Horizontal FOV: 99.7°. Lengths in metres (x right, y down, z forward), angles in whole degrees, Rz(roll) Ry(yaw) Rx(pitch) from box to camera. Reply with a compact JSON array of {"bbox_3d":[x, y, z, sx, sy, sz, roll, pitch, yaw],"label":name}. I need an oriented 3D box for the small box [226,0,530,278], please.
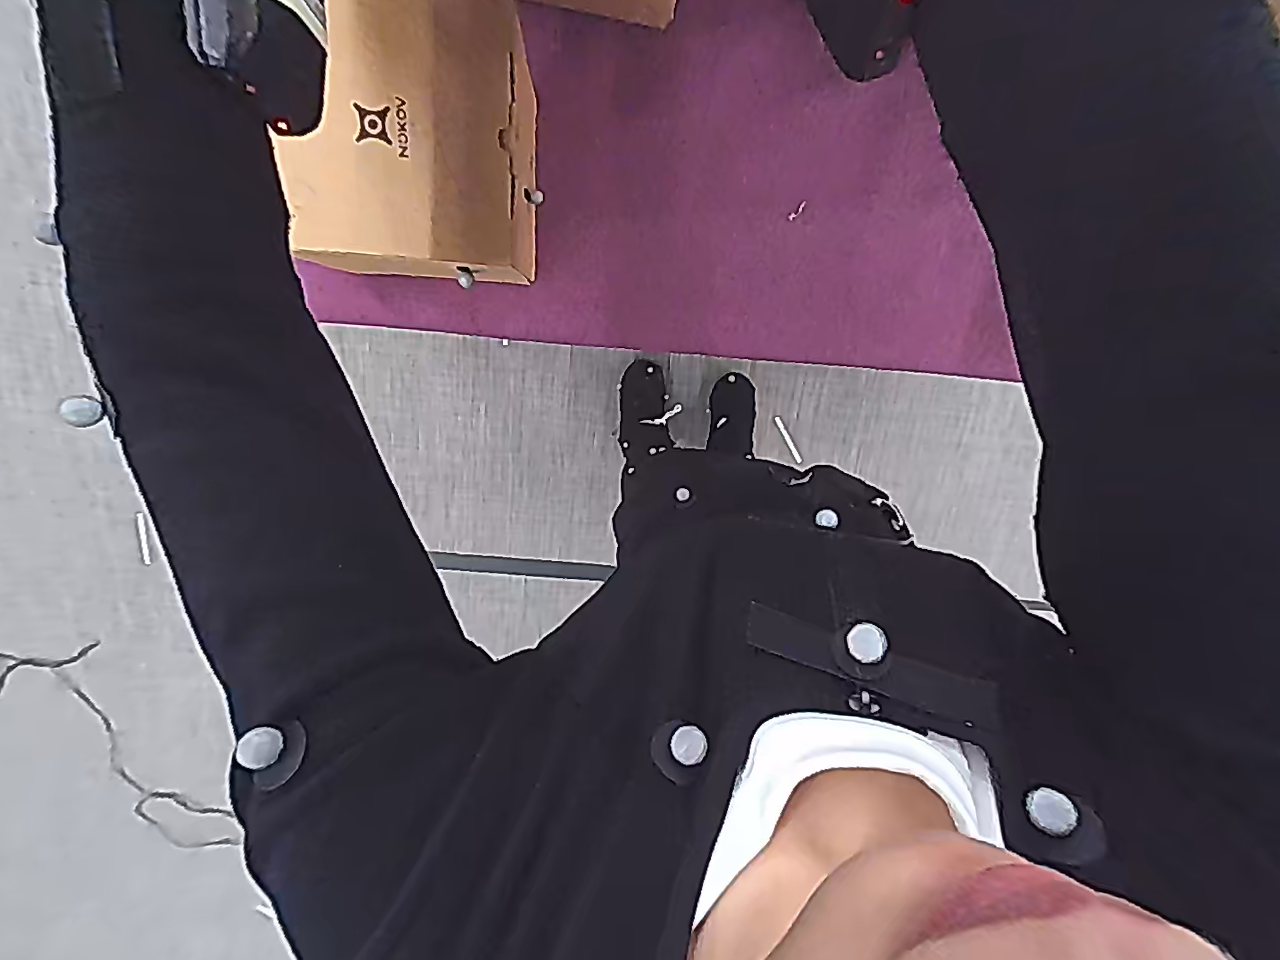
[{"bbox_3d":[-0.187,-0.262,0.443,0.179,0.176,0.168,1,106,-7],"label":"small box"}]
